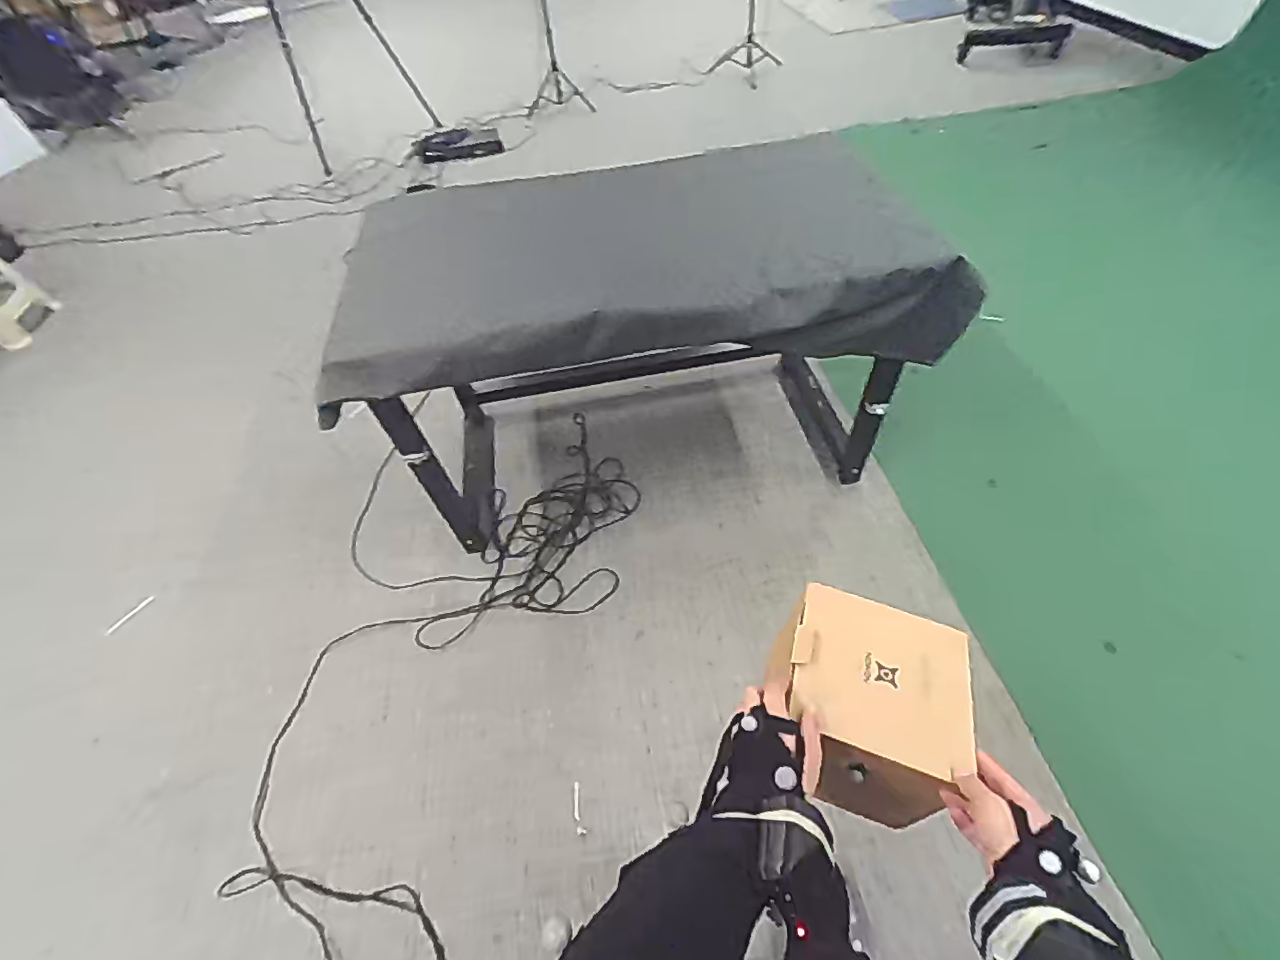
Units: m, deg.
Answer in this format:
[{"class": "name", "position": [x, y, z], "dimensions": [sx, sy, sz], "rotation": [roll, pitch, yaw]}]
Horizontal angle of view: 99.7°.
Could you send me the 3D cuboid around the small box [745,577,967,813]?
[{"class": "small box", "position": [0.228, 0.242, 0.602], "dimensions": [0.179, 0.176, 0.168], "rotation": [17, 49, 9]}]
